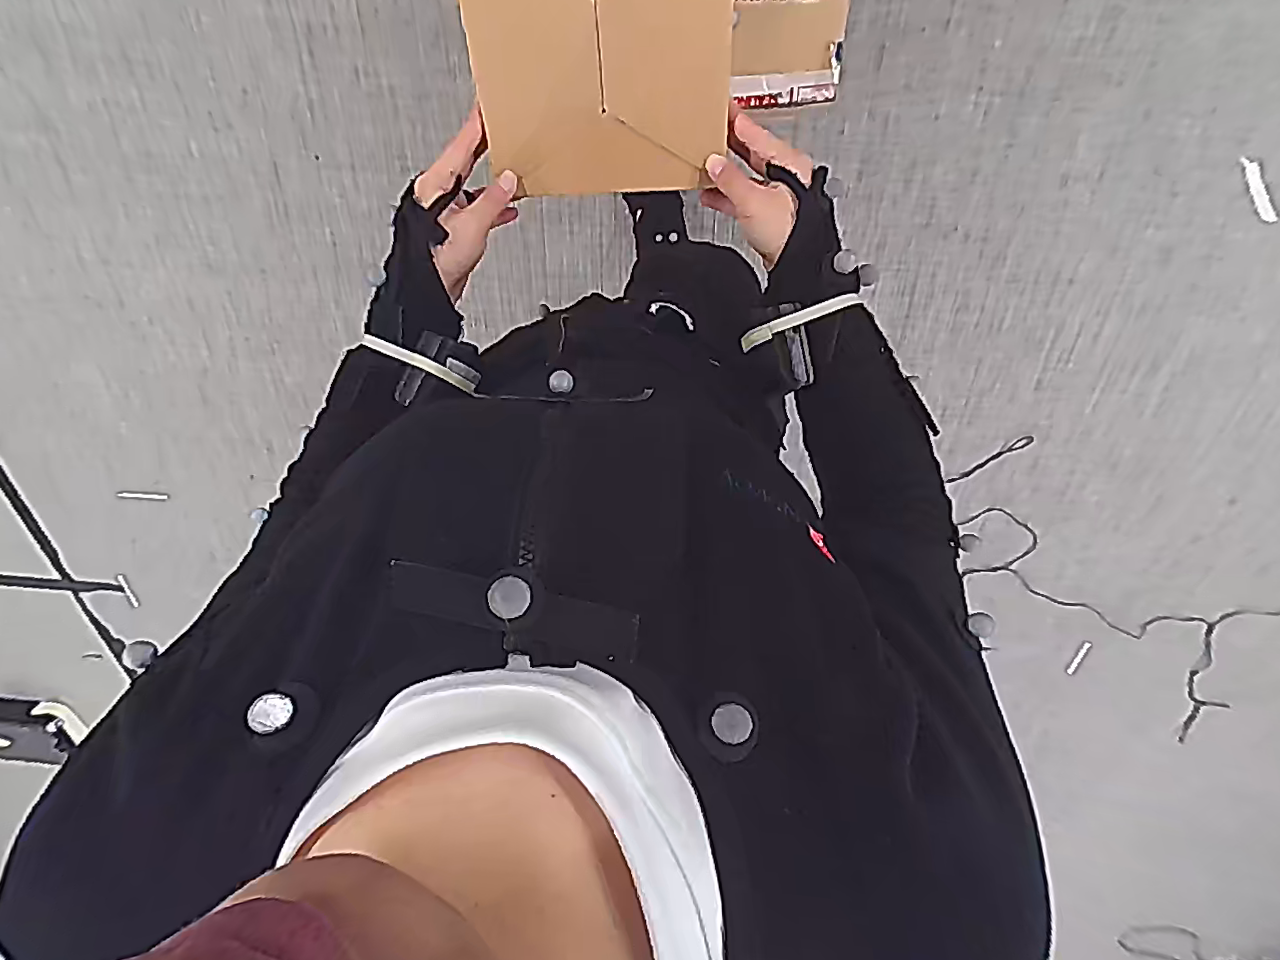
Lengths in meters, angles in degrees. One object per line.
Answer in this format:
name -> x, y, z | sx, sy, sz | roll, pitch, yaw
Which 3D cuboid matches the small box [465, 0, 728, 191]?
small box -> -0.028, -0.339, 0.425 | 0.179, 0.176, 0.168 | -1, 132, 3
